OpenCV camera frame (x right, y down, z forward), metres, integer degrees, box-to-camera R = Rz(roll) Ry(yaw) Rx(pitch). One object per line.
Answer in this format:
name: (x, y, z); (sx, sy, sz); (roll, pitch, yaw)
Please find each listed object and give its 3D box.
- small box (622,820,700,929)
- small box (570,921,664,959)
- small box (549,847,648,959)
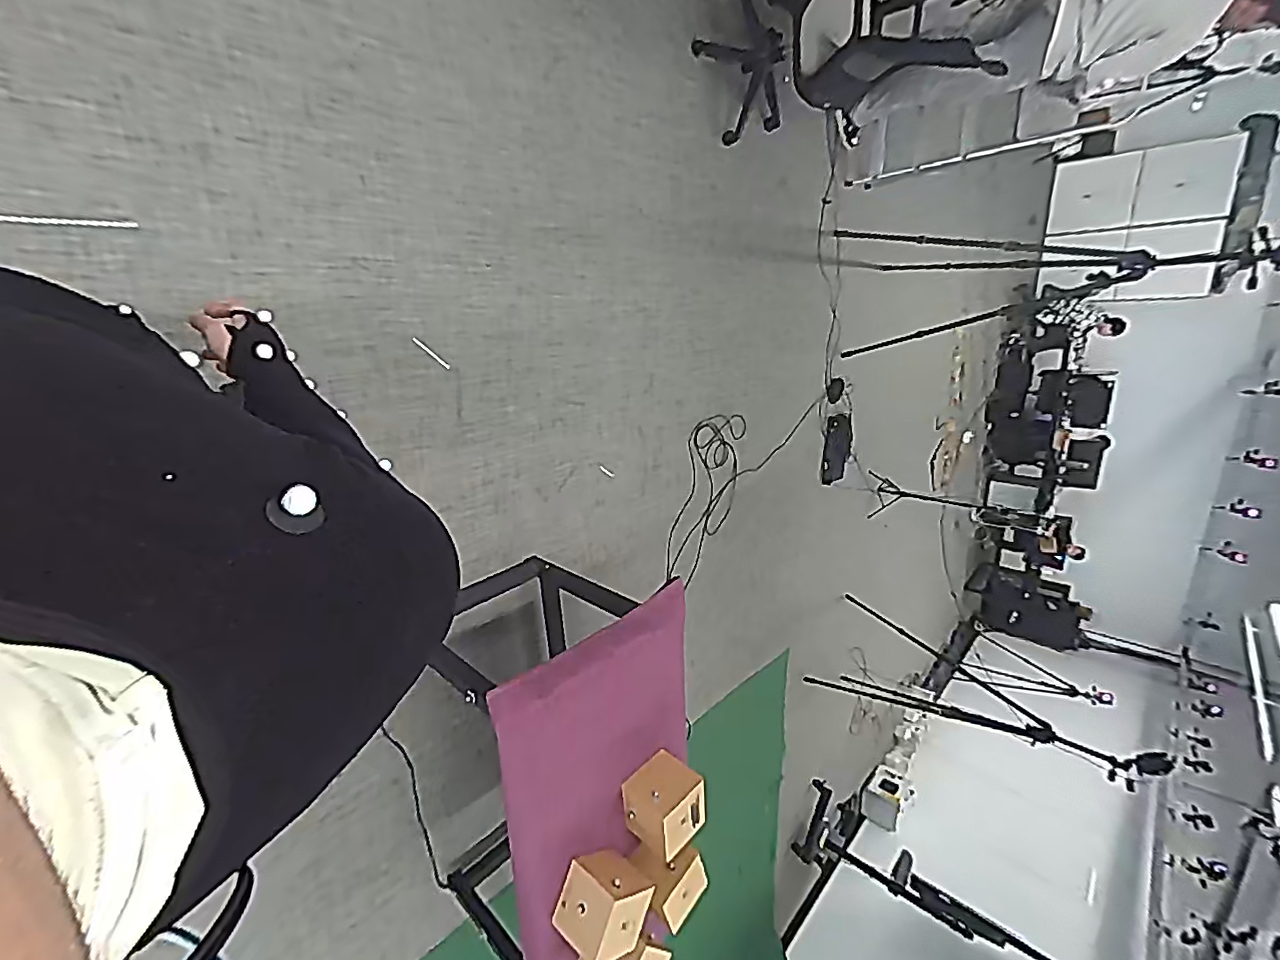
small box: (0.057, 1.212, 1.671); (0.179, 0.176, 0.168); (-36, 124, -36)
small box: (-0.067, 1.385, 1.577); (0.168, 0.176, 0.179); (-53, 132, -24)
small box: (-0.116, 1.133, 1.456); (0.179, 0.176, 0.168); (30, 78, -48)
